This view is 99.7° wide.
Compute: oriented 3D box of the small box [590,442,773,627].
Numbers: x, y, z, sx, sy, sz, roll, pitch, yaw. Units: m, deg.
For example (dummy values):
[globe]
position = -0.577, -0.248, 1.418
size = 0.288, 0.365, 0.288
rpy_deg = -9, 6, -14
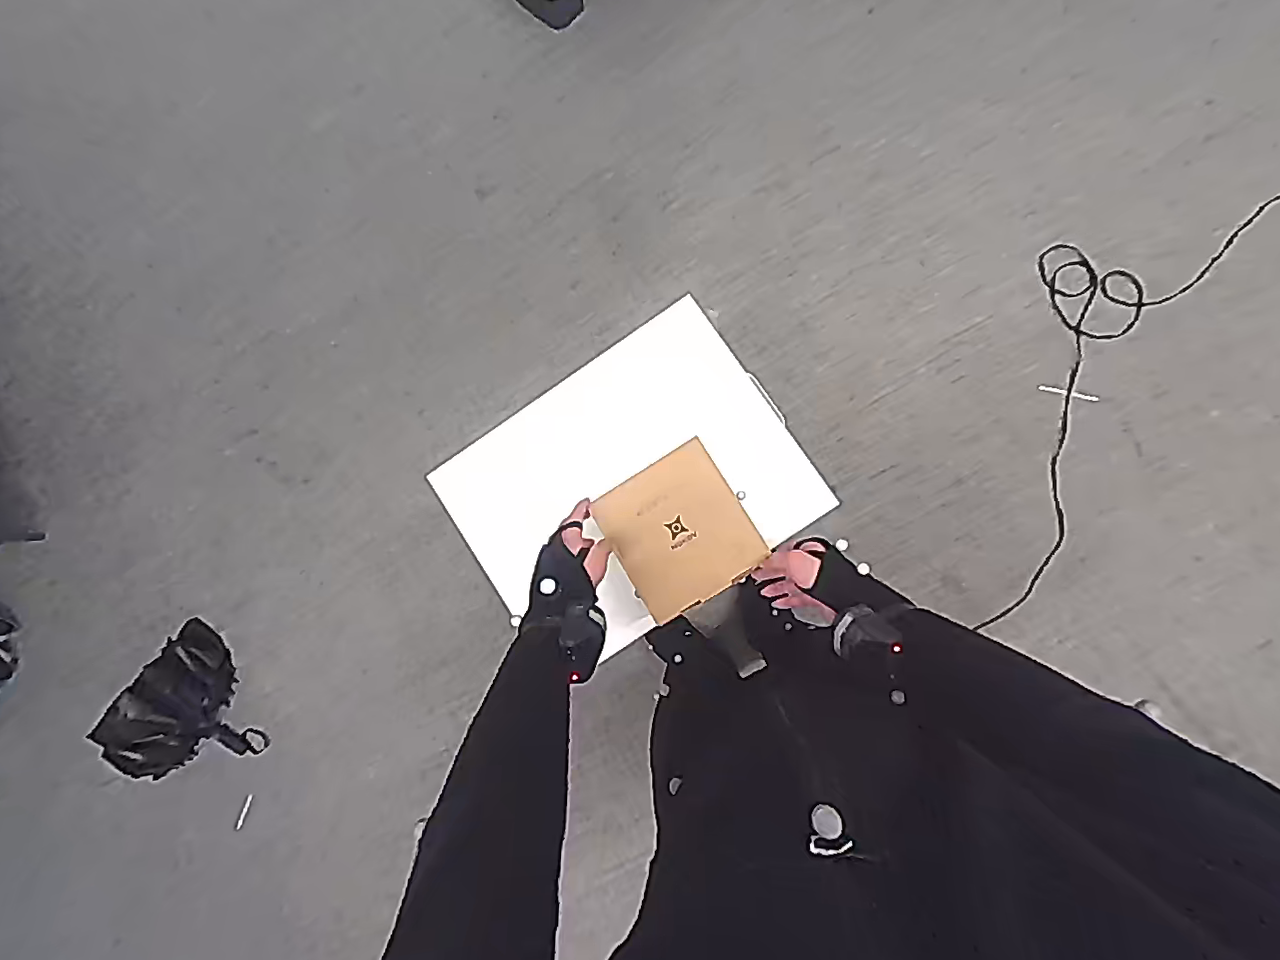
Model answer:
[small box]
position = 0.058, 0.072, 0.743
size = 0.168, 0.176, 0.179
rpy_deg = -33, 81, 1
